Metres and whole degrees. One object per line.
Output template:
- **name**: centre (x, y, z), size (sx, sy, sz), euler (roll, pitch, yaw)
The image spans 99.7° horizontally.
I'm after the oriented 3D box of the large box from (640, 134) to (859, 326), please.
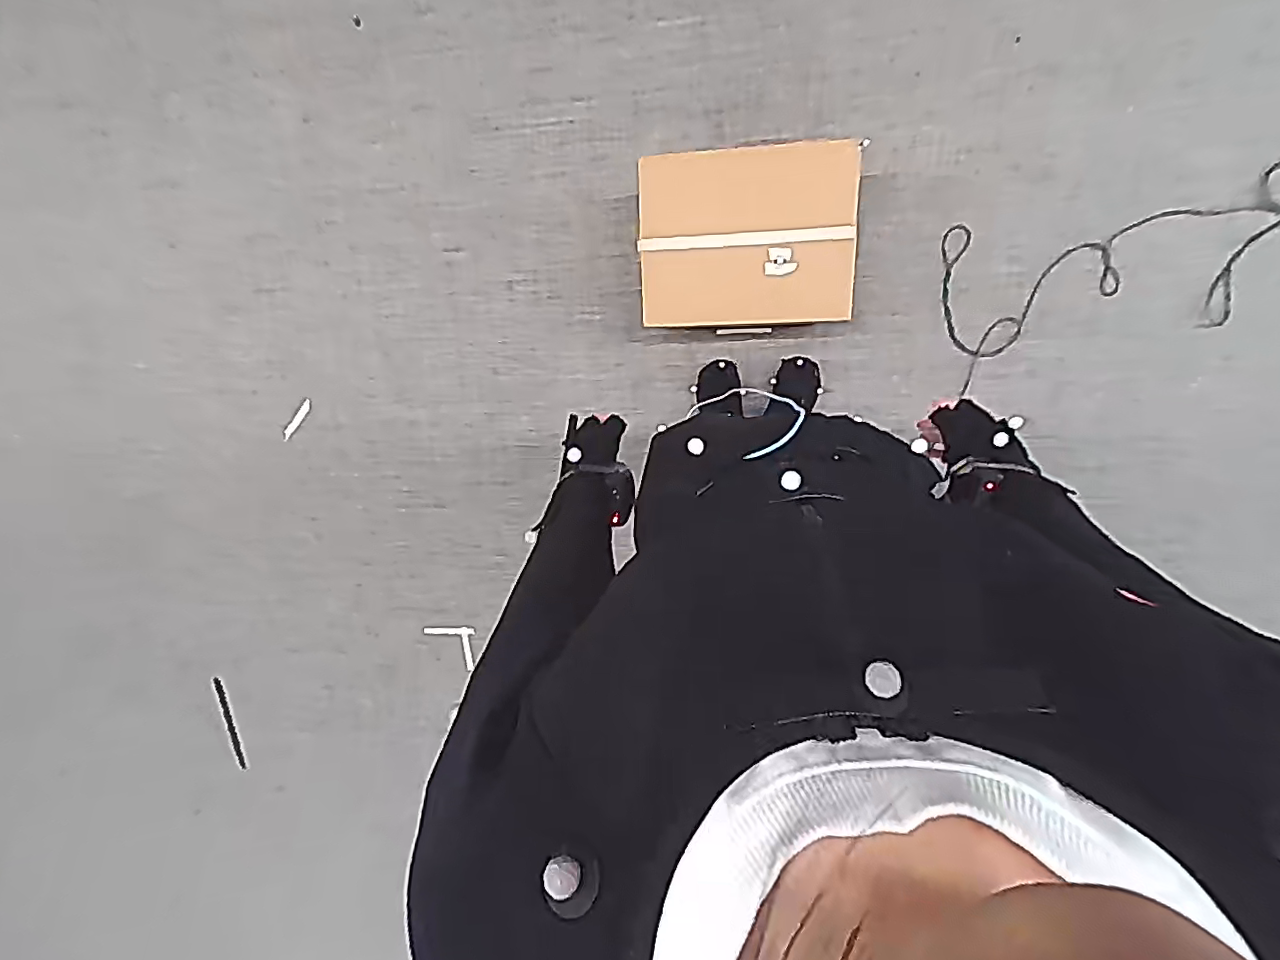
- **large box**: centre (0.221, -0.505, 1.171), size (0.408, 0.320, 0.320), euler (0, 106, 8)
